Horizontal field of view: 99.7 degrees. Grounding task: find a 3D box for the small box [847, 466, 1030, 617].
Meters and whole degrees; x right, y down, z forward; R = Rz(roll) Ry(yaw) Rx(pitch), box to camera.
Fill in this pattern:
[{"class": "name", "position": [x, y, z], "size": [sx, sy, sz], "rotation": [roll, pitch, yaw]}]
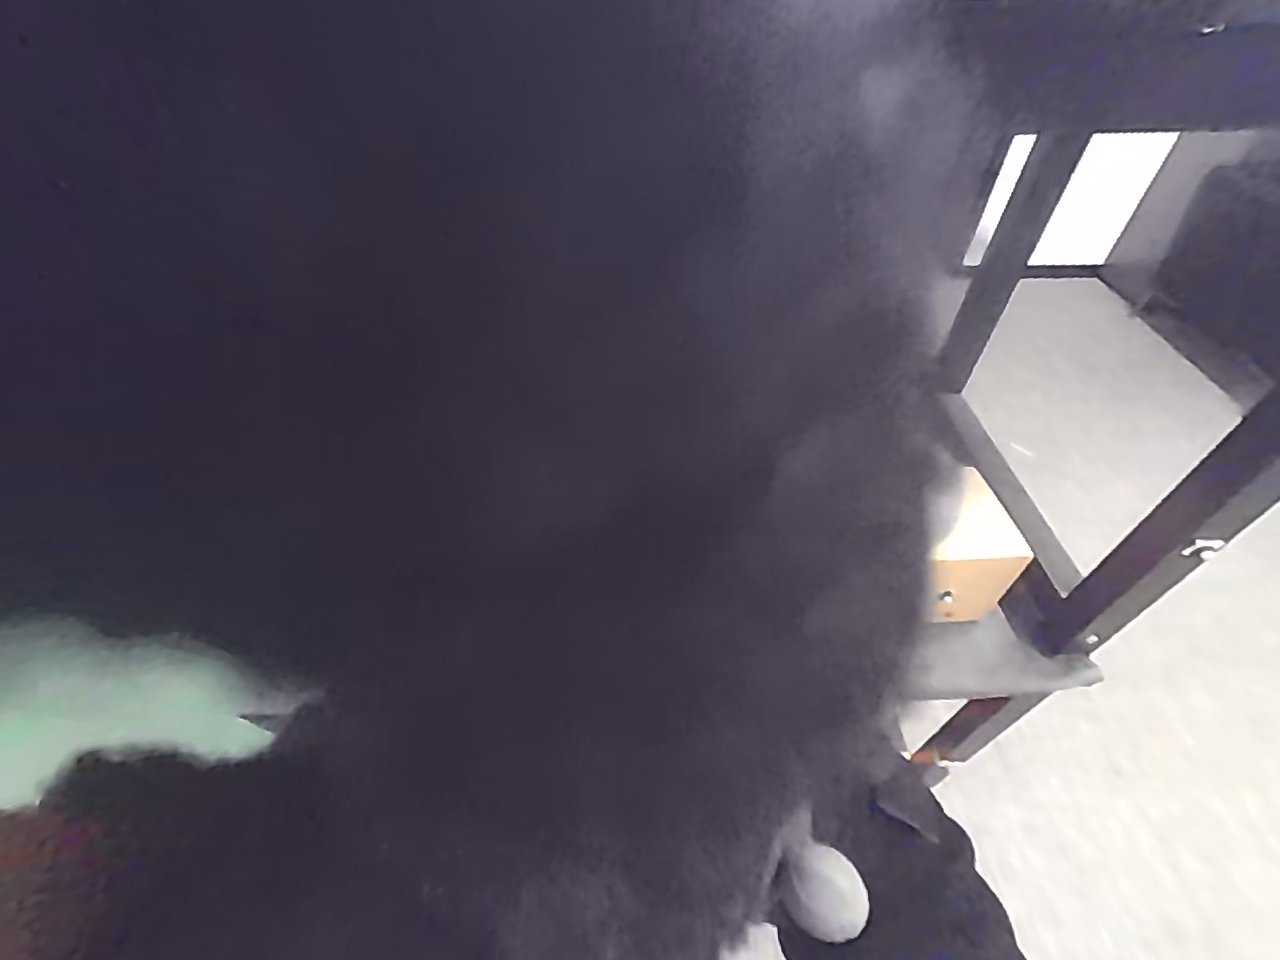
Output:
[{"class": "small box", "position": [0.441, 0.100, 0.835], "size": [0.168, 0.176, 0.179], "rotation": [-2, 45, -1]}]
